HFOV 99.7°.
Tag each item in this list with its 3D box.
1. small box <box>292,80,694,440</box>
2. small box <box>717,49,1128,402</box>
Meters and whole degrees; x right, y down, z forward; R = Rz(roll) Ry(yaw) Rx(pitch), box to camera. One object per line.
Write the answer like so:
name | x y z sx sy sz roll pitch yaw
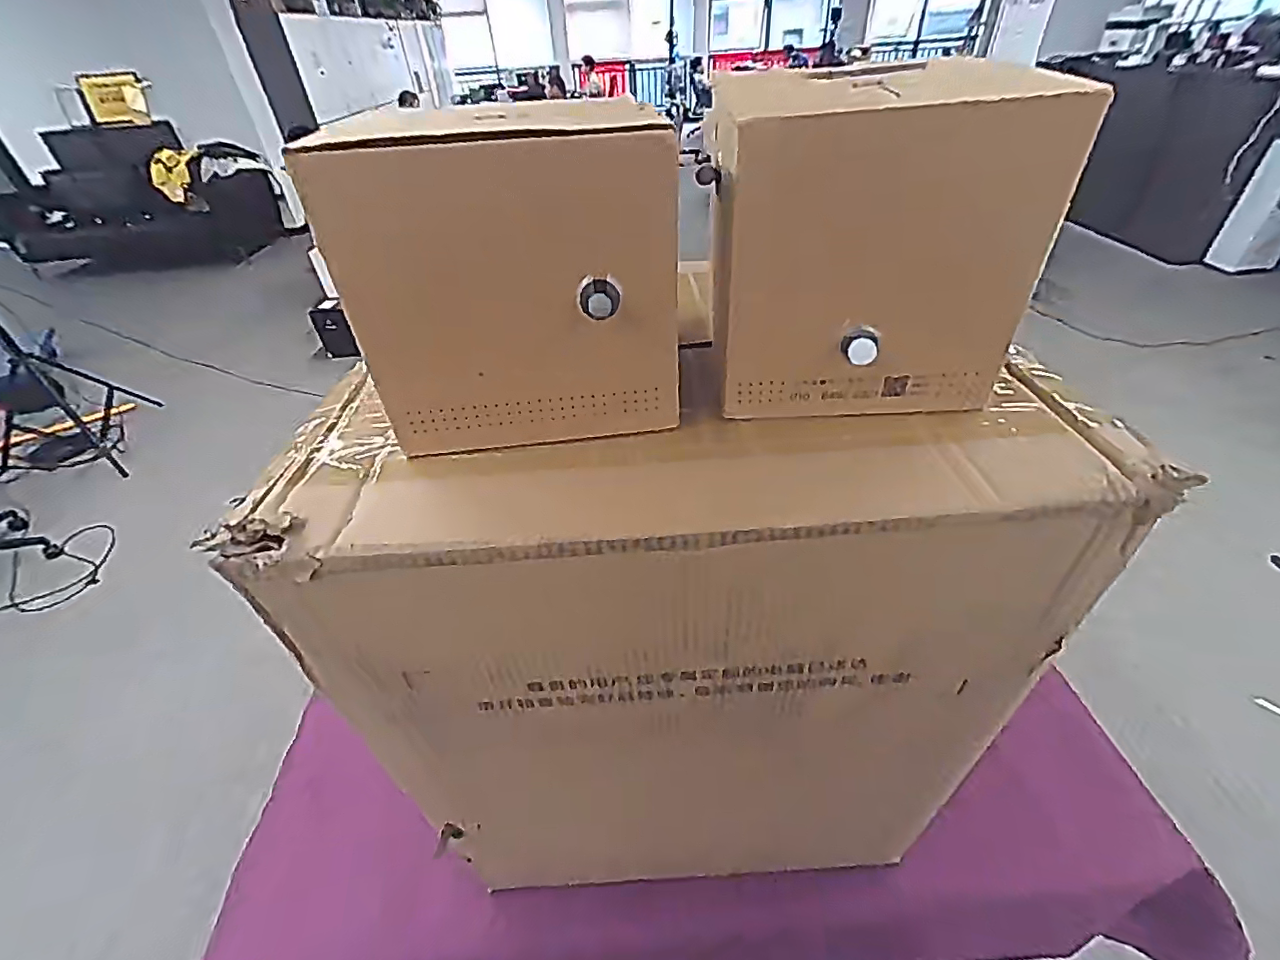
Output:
small box | -0.069 -0.143 0.345 0.179 0.176 0.168 -7 38 -4
small box | 0.139 -0.167 0.353 0.168 0.176 0.179 -2 40 5
